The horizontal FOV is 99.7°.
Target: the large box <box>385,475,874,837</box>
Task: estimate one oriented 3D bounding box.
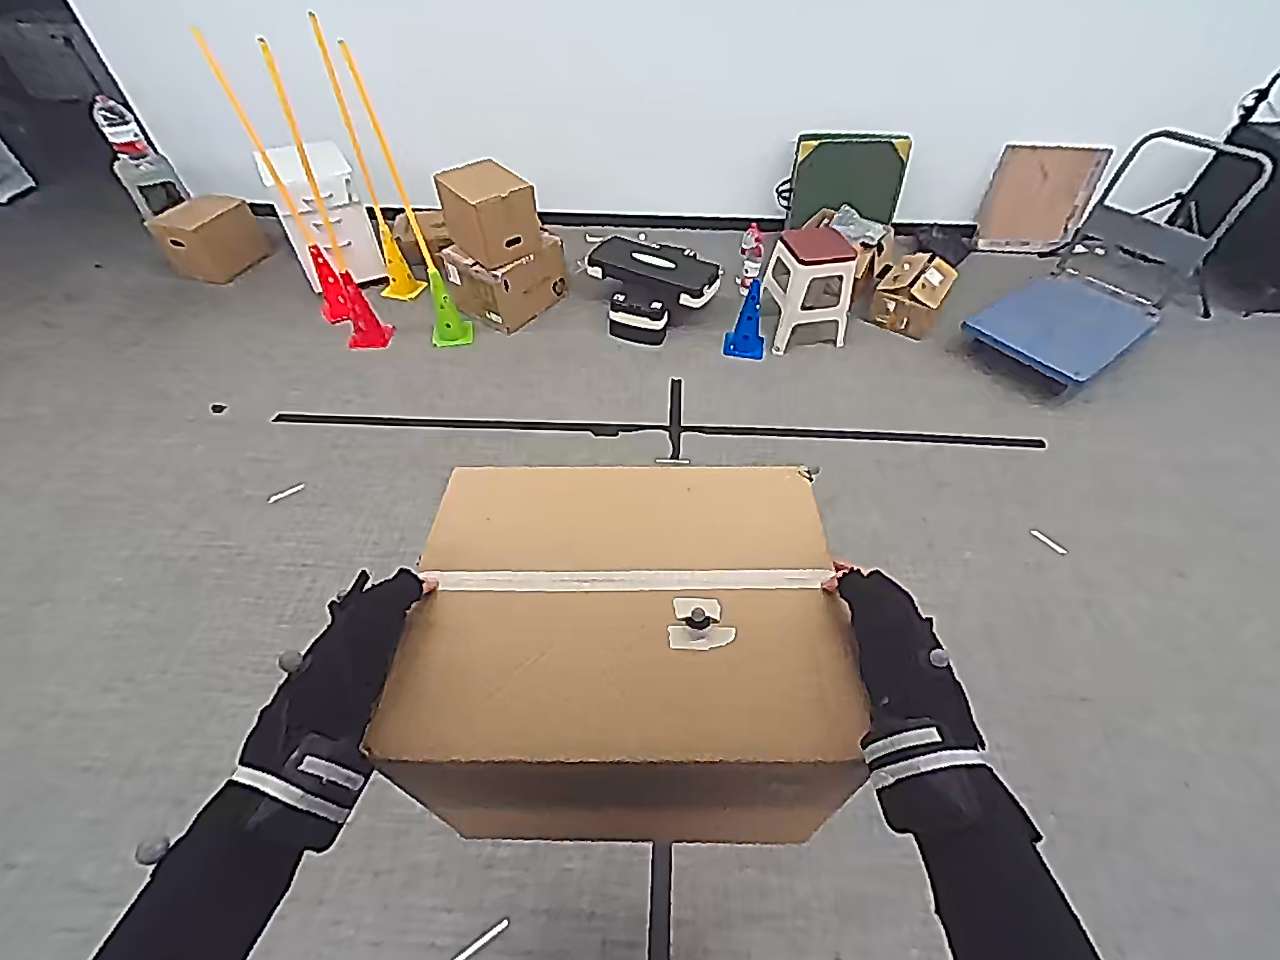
[{"bbox_3d":[-0.009,0.209,0.640,0.408,0.320,0.320,0,47,1],"label":"large box"}]
